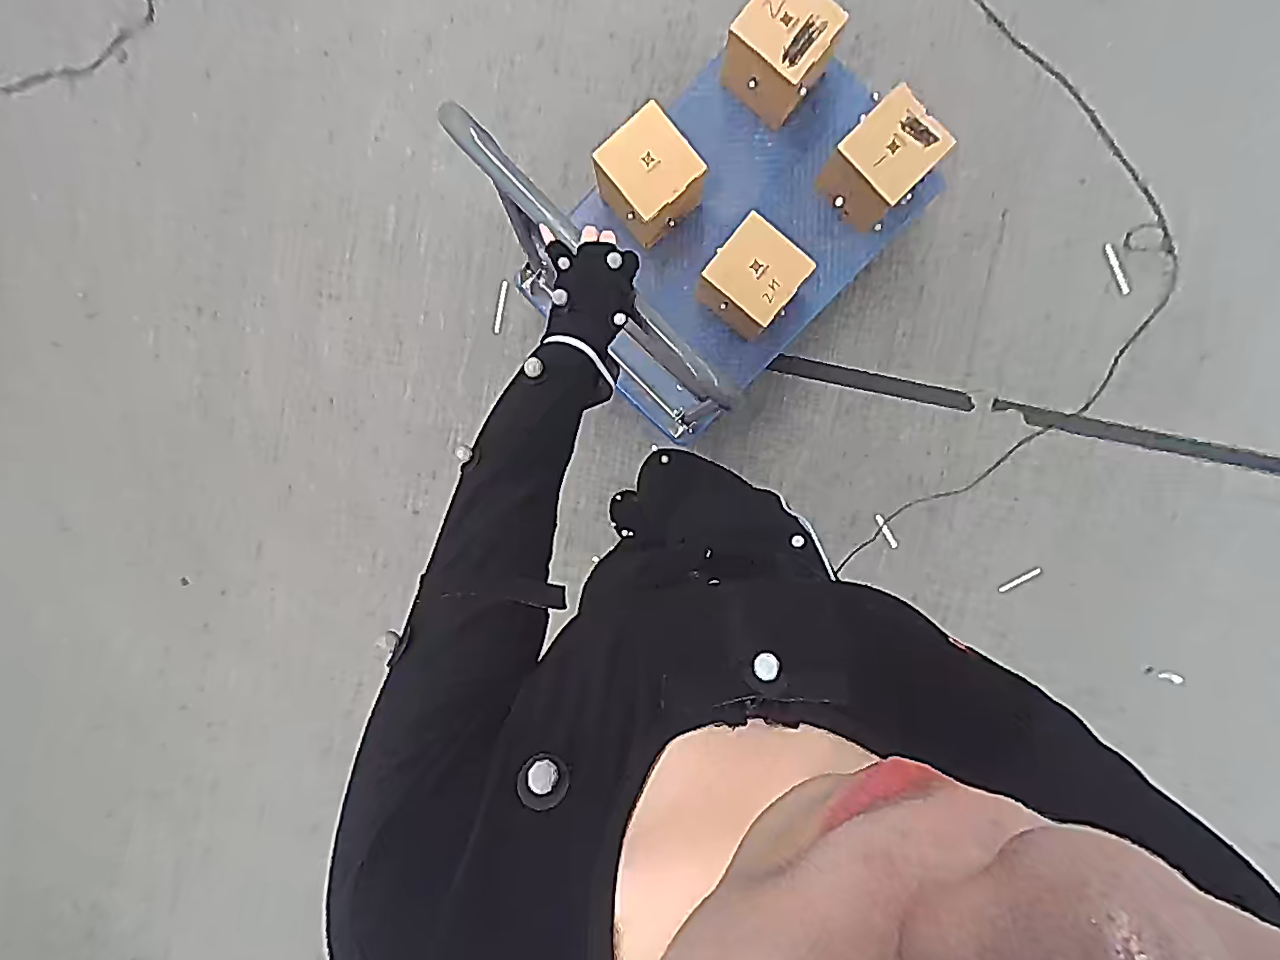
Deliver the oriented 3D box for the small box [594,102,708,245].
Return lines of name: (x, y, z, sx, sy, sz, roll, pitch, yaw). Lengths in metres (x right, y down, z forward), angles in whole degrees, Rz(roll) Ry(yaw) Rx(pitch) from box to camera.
small box: (0.020, -0.646, 1.166, 0.168, 0.176, 0.179, -41, 95, 3)

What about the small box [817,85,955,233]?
small box: (0.512, -0.672, 1.154, 0.179, 0.176, 0.168, -44, 93, 5)

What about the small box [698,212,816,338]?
small box: (0.242, -0.433, 1.179, 0.179, 0.176, 0.168, 40, 95, -2)
